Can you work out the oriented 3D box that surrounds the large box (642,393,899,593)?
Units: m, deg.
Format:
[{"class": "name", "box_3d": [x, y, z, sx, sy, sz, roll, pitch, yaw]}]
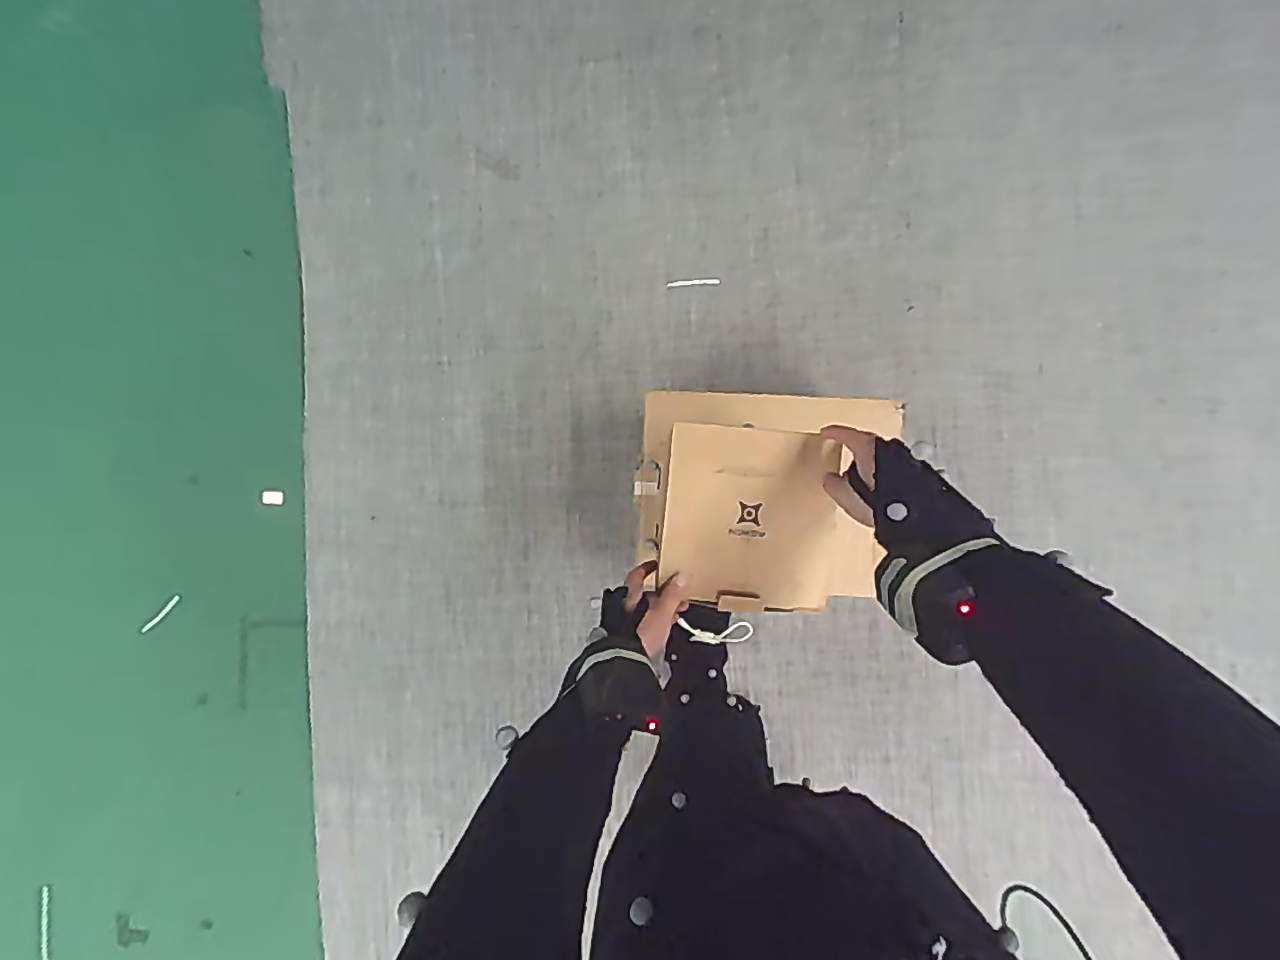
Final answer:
[{"class": "large box", "box_3d": [0.207, 0.021, 1.000, 0.408, 0.320, 0.320, 2, 91, 2]}]

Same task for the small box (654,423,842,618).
[{"class": "small box", "box_3d": [0.106, 0.039, 0.598, 0.168, 0.176, 0.179, 5, 89, 1]}]
